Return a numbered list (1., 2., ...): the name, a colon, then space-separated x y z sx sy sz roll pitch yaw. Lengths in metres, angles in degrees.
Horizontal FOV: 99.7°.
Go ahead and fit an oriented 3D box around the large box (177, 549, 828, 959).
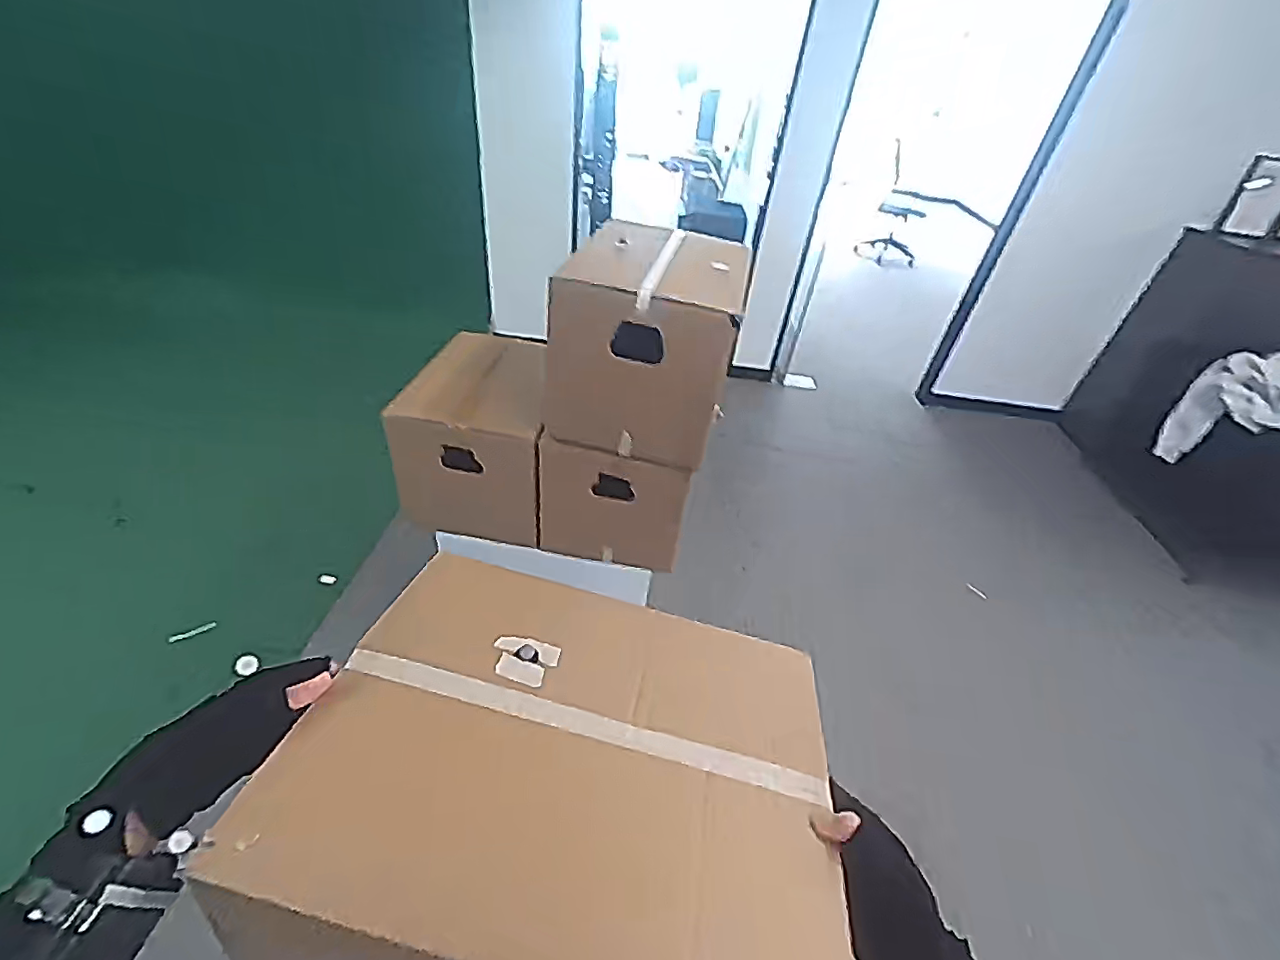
1. large box: -0.082 0.319 0.512 0.408 0.320 0.320 15 31 4
